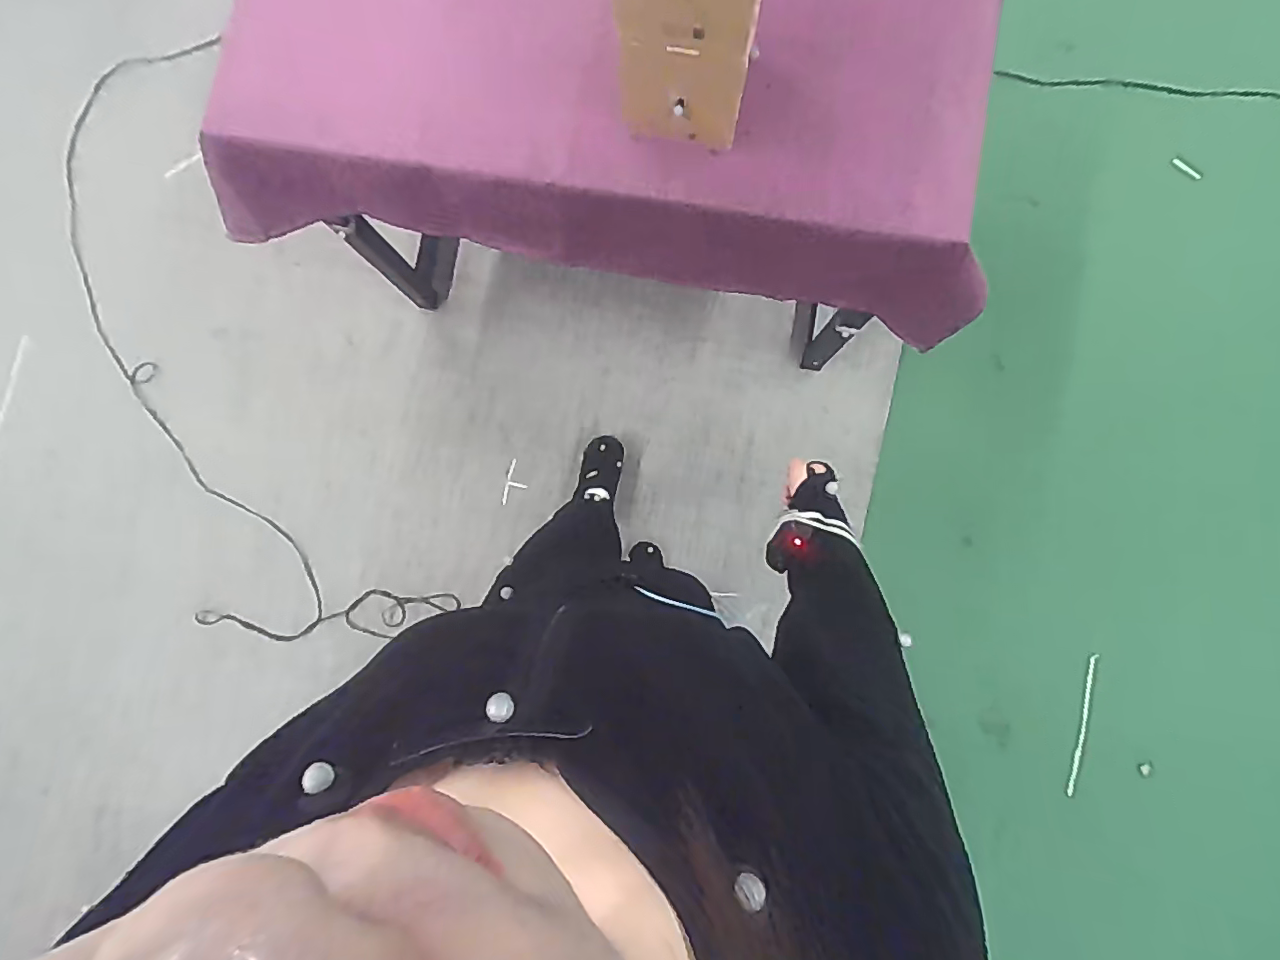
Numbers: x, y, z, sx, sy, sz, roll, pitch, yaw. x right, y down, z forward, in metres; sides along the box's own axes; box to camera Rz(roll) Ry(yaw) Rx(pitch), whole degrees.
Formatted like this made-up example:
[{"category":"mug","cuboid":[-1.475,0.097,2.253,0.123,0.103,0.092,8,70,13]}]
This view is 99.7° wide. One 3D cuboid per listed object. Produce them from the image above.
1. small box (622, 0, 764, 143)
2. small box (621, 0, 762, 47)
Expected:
[{"category":"small box","cuboid":[0.077,-0.611,0.751,0.168,0.176,0.179,11,87,2]},{"category":"small box","cuboid":[0.068,-0.624,0.586,0.168,0.176,0.179,11,86,2]}]
